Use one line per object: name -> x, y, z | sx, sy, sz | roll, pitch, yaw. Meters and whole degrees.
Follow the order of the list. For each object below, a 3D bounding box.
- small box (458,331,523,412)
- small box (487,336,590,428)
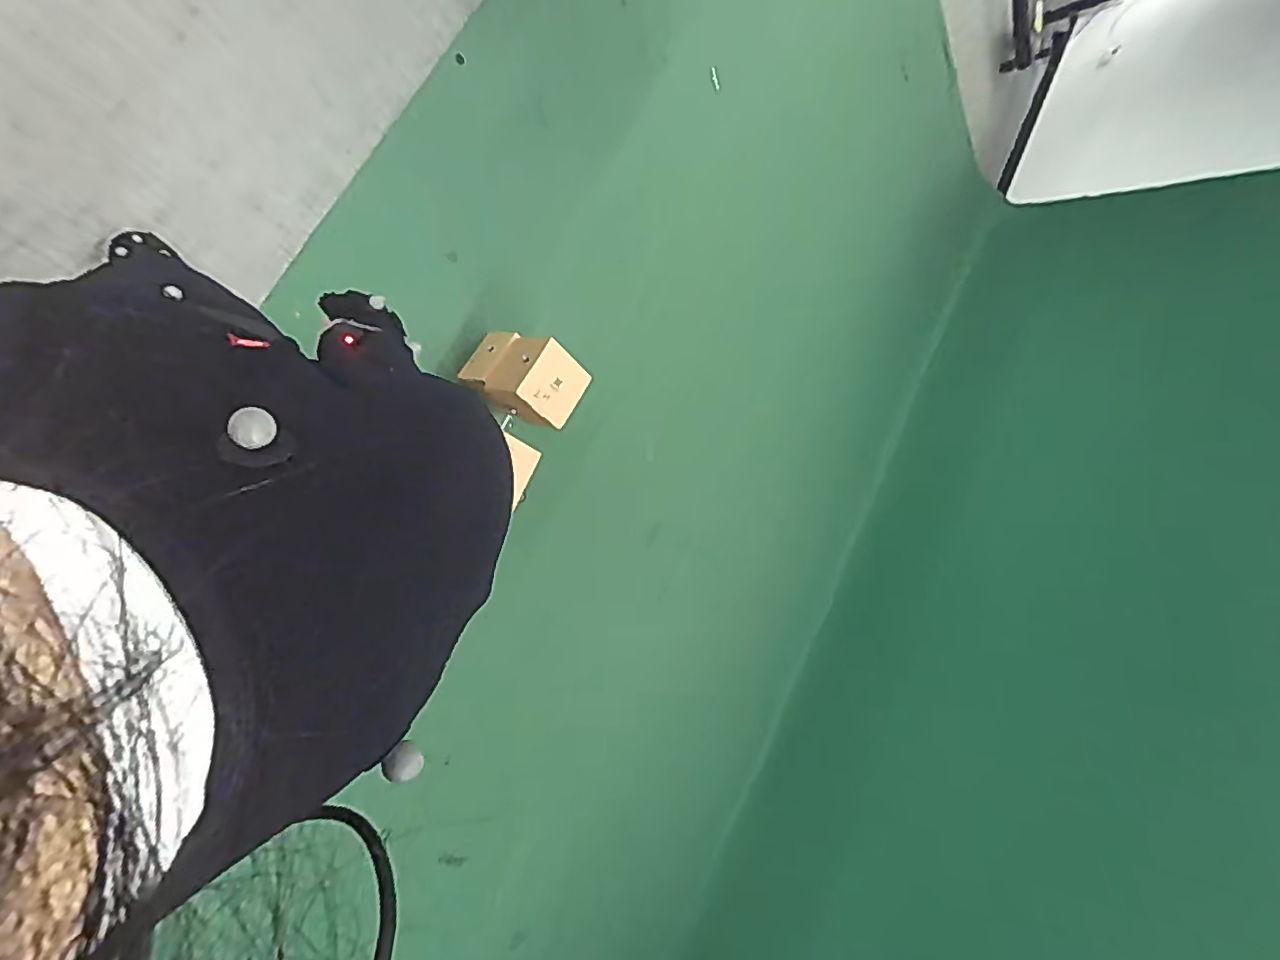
small box -> -0.383, -0.303, 1.541 | 0.179, 0.176, 0.168 | 44, 71, -41
small box -> -0.271, -0.260, 1.427 | 0.168, 0.176, 0.179 | 42, 72, -41
